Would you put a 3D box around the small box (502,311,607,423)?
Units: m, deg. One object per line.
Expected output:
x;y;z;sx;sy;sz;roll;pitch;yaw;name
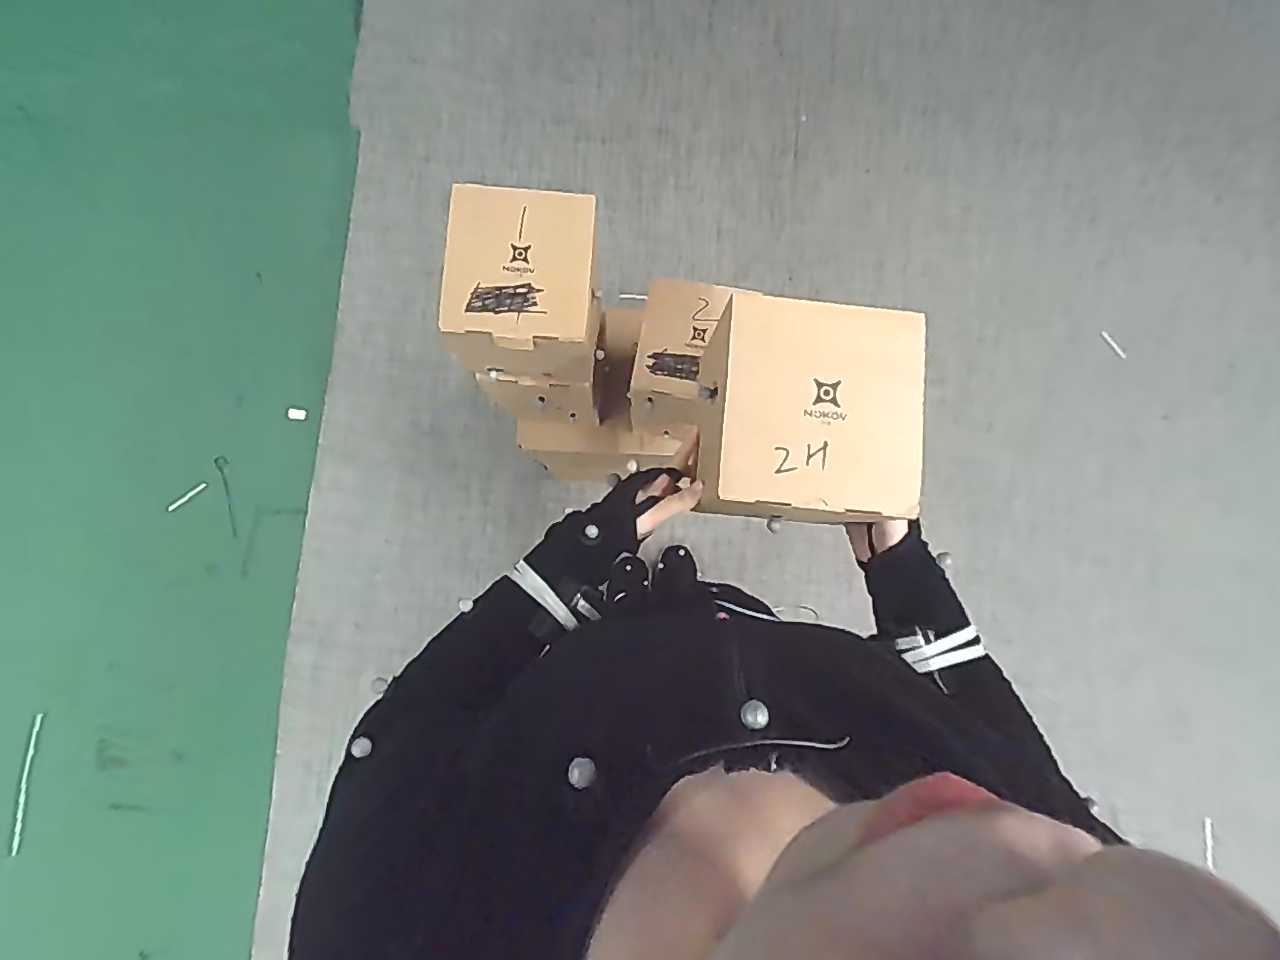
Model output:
-0.151;-0.209;1.013;0.168;0.176;0.179;6;84;-2;small box

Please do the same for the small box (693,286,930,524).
0.147;-0.055;0.513;0.168;0.176;0.179;6;83;-1;small box

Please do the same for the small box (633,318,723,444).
0.081;-0.176;1.010;0.168;0.176;0.179;10;84;2;small box

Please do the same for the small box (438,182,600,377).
-0.140;-0.239;0.686;0.168;0.176;0.179;4;83;-2;small box
